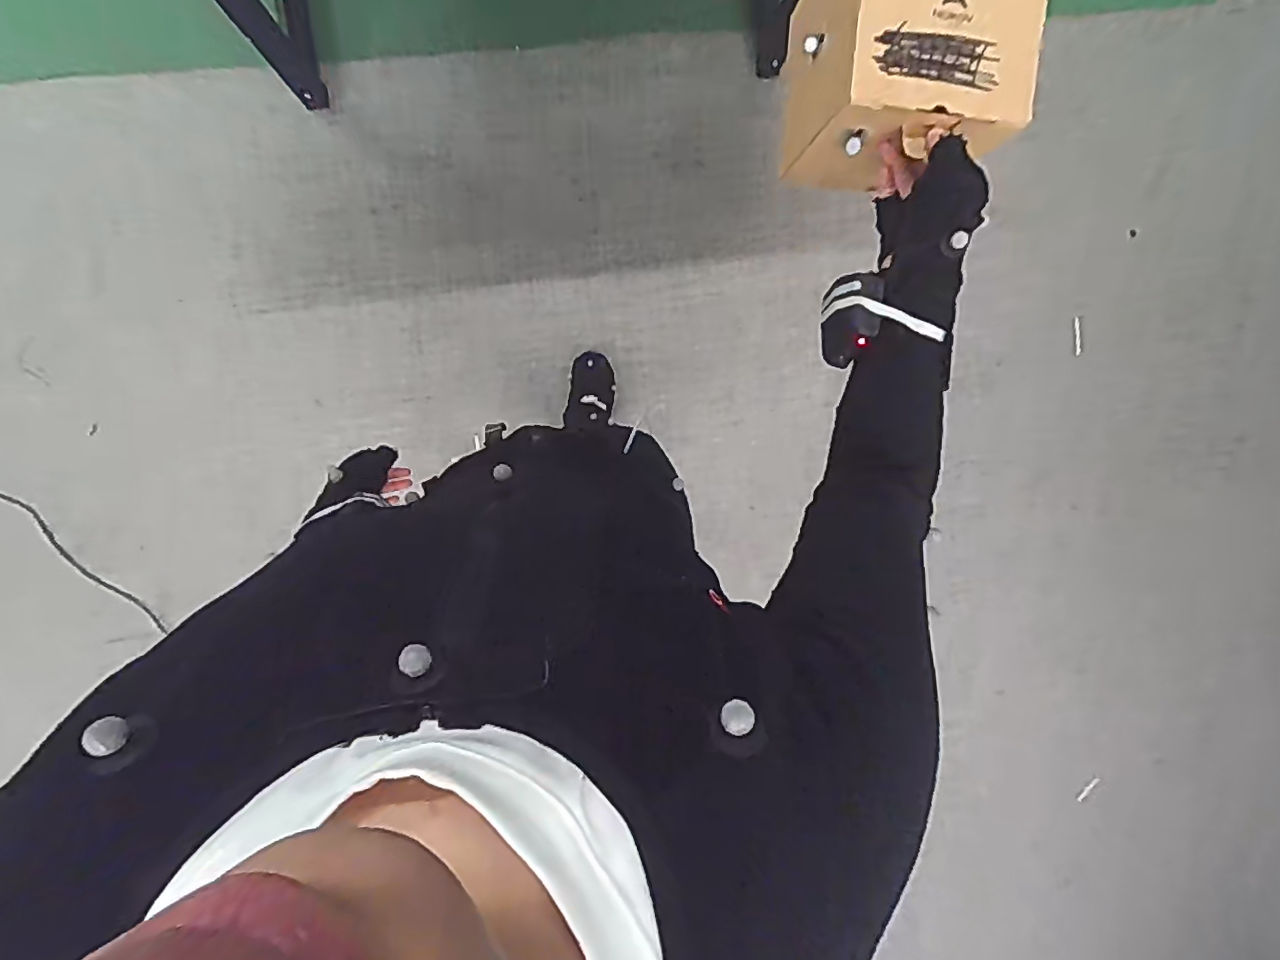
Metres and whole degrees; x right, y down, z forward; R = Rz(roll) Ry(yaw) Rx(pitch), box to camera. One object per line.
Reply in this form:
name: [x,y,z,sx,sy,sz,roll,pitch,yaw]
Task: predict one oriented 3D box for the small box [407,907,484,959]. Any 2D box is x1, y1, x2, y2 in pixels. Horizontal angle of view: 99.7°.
small box: [-0.526,1.304,1.463,0.168,0.176,0.179,-6,95,-6]
